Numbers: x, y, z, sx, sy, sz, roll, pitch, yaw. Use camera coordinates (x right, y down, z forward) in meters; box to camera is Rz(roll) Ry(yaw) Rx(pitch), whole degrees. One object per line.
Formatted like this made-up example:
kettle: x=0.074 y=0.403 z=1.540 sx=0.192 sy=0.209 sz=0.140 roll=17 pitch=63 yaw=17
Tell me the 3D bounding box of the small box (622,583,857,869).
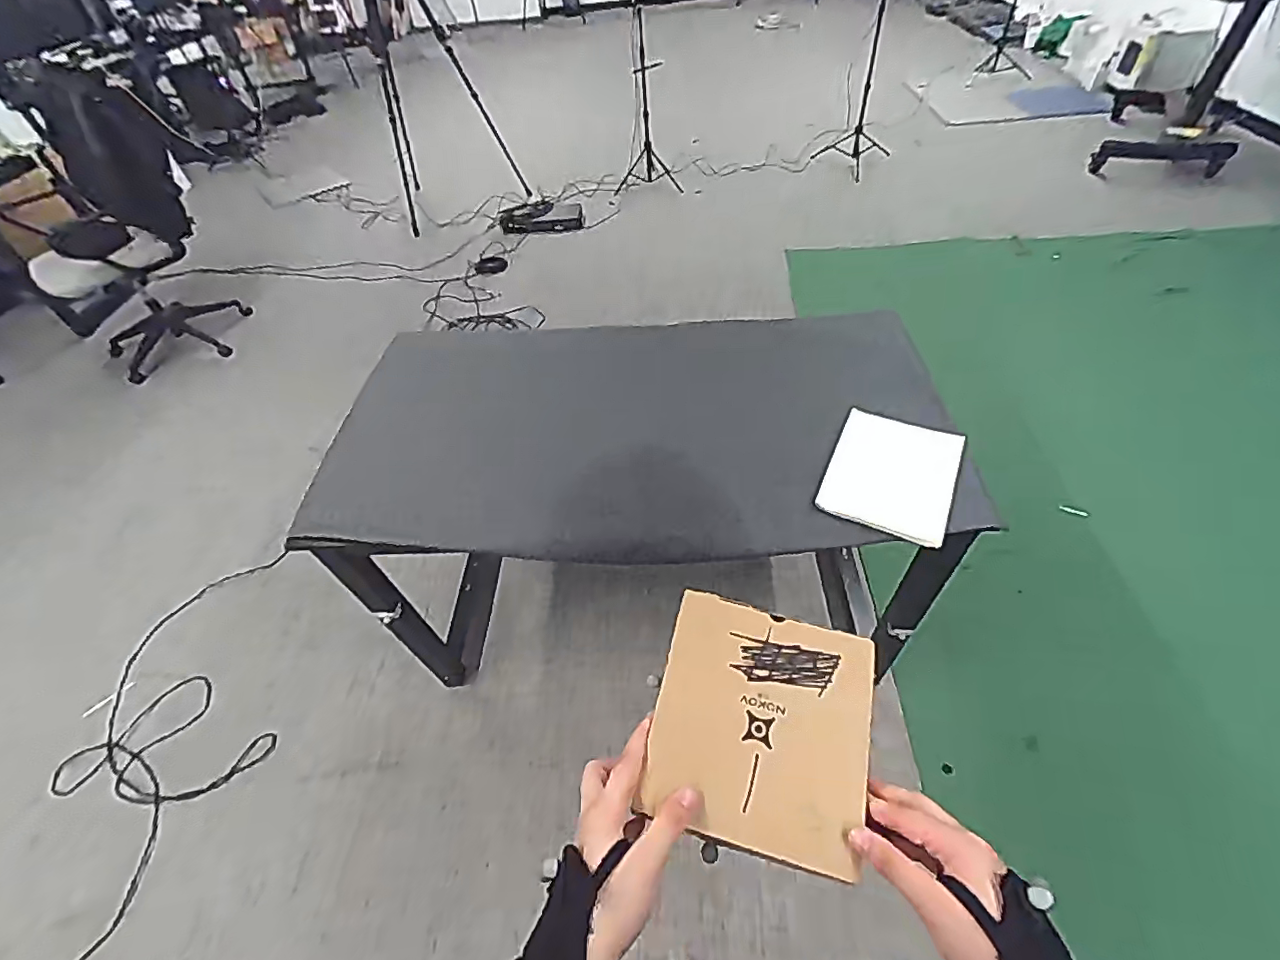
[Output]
small box: x=0.084 y=0.224 z=0.500 sx=0.168 sy=0.176 sz=0.179 roll=14 pitch=60 yaw=8
